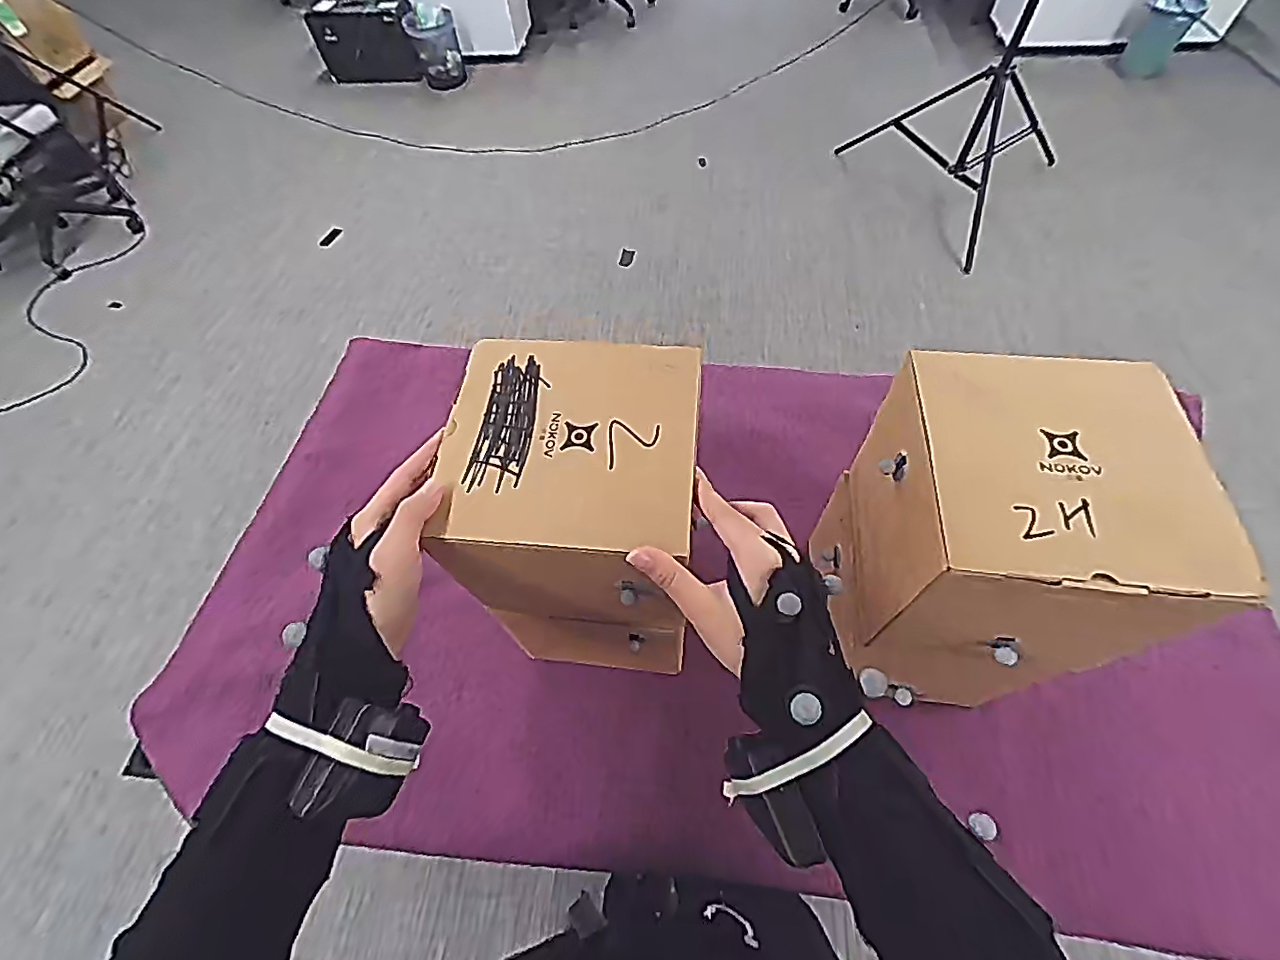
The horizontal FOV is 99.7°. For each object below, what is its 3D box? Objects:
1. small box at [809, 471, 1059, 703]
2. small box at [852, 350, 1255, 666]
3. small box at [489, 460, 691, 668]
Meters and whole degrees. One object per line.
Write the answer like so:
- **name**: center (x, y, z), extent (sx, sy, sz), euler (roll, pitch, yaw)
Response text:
- **small box**: center (0.274, 0.113, 0.555), extent (0.168, 0.176, 0.179), euler (5, 59, 7)
- **small box**: center (0.271, 0.026, 0.415), extent (0.168, 0.176, 0.179), euler (5, 58, 7)
- **small box**: center (-0.038, 0.096, 0.587), extent (0.179, 0.176, 0.168), euler (4, 58, 6)
